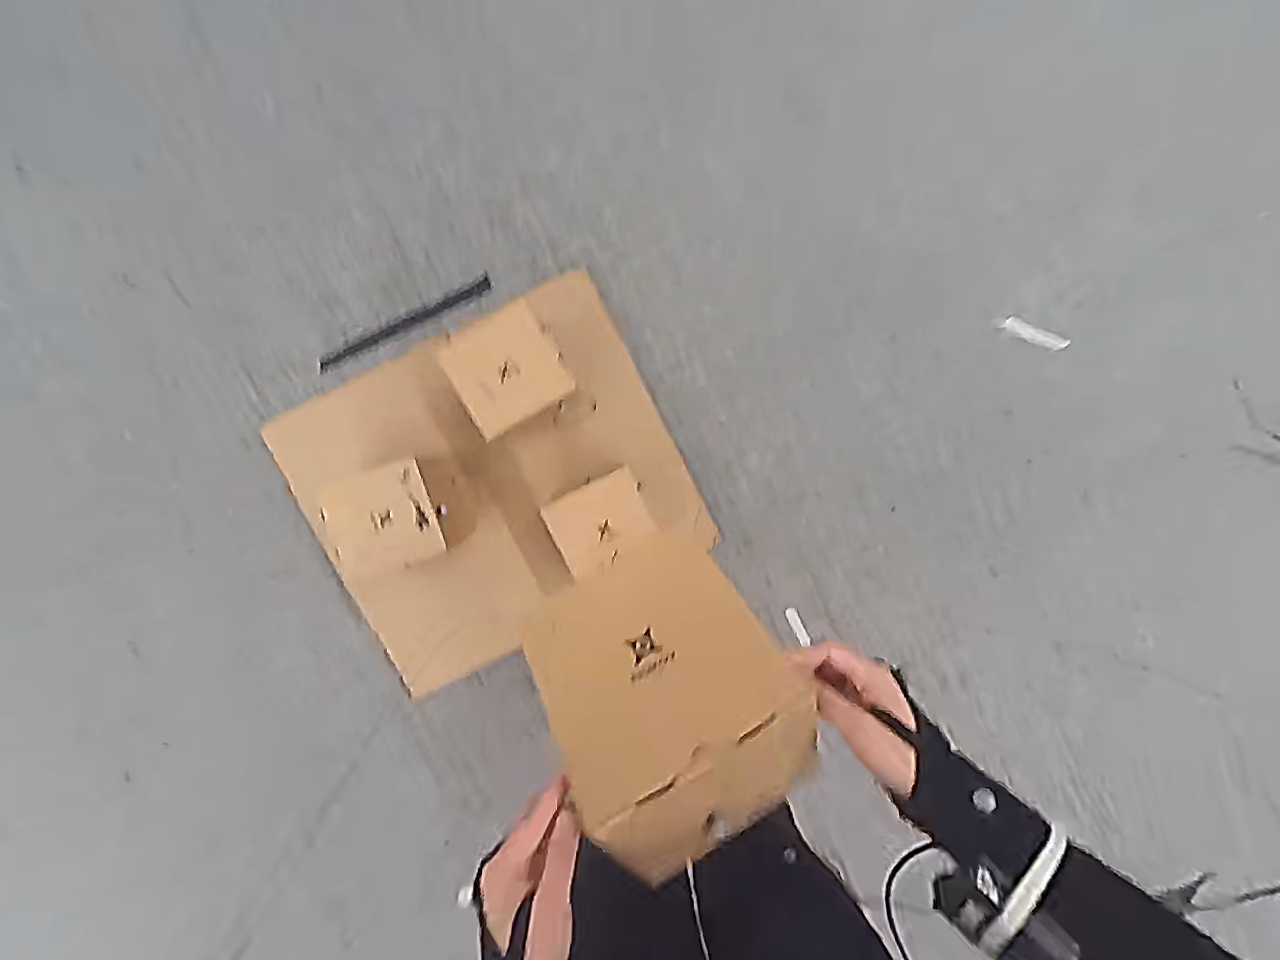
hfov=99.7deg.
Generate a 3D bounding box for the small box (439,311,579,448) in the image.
[{"bbox_3d":[-0.222,-0.171,0.970,0.179,0.176,0.168,-32,94,-1],"label":"small box"}]

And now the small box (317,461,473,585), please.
[{"bbox_3d":[-0.427,0.069,0.971,0.179,0.176,0.168,-18,95,0],"label":"small box"}]

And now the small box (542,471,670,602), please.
[{"bbox_3d":[-0.062,0.092,0.995,0.168,0.176,0.179,-27,96,0],"label":"small box"}]
